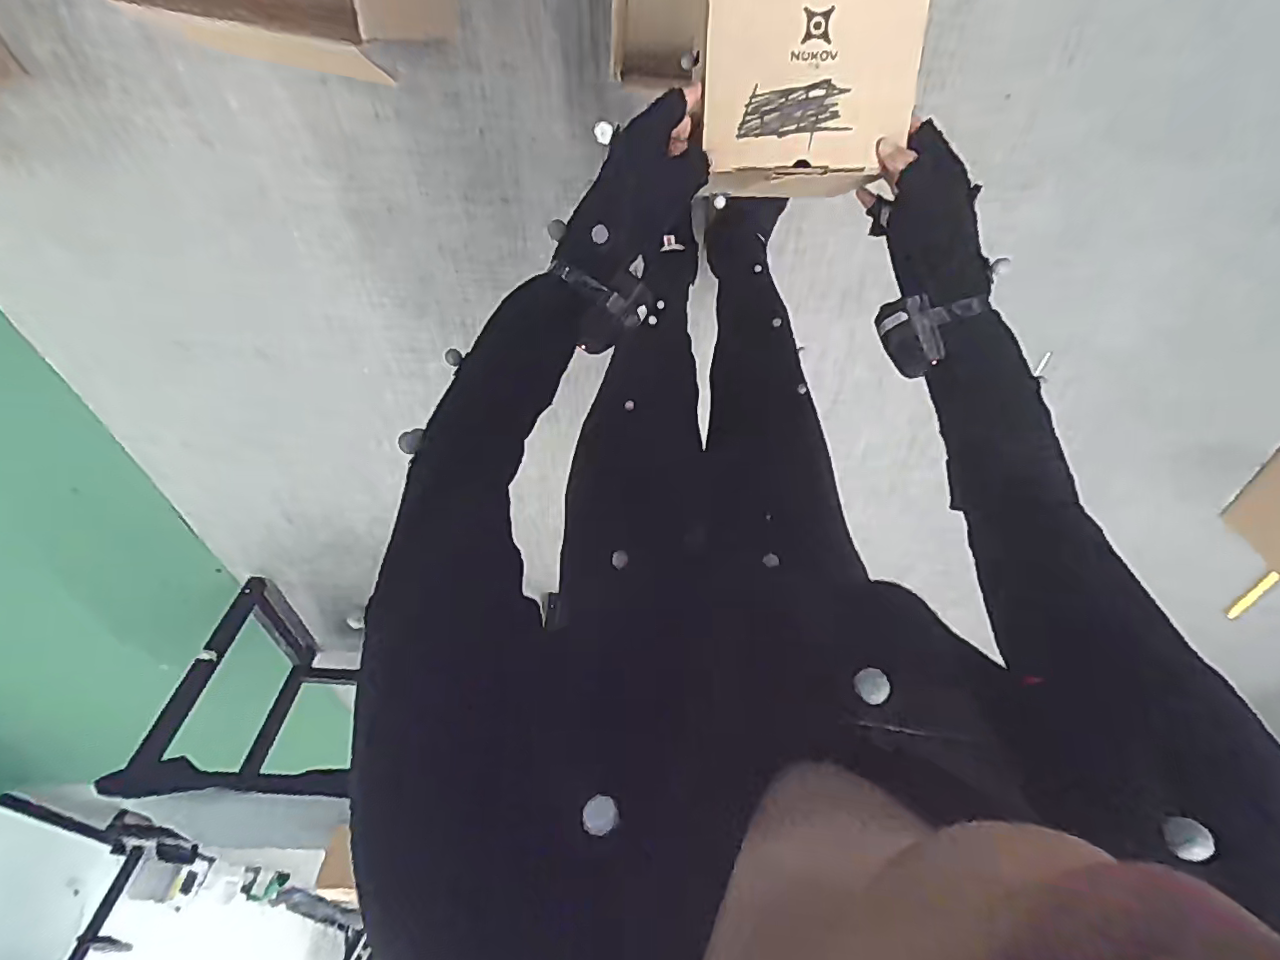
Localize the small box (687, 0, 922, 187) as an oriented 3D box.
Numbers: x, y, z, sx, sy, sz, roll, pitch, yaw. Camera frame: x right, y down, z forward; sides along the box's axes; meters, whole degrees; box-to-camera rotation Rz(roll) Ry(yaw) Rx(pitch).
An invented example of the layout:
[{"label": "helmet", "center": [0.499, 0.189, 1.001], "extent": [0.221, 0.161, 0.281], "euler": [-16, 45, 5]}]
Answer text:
[{"label": "small box", "center": [0.131, -0.372, 0.487], "extent": [0.168, 0.176, 0.179], "euler": [1, 110, 1]}]
